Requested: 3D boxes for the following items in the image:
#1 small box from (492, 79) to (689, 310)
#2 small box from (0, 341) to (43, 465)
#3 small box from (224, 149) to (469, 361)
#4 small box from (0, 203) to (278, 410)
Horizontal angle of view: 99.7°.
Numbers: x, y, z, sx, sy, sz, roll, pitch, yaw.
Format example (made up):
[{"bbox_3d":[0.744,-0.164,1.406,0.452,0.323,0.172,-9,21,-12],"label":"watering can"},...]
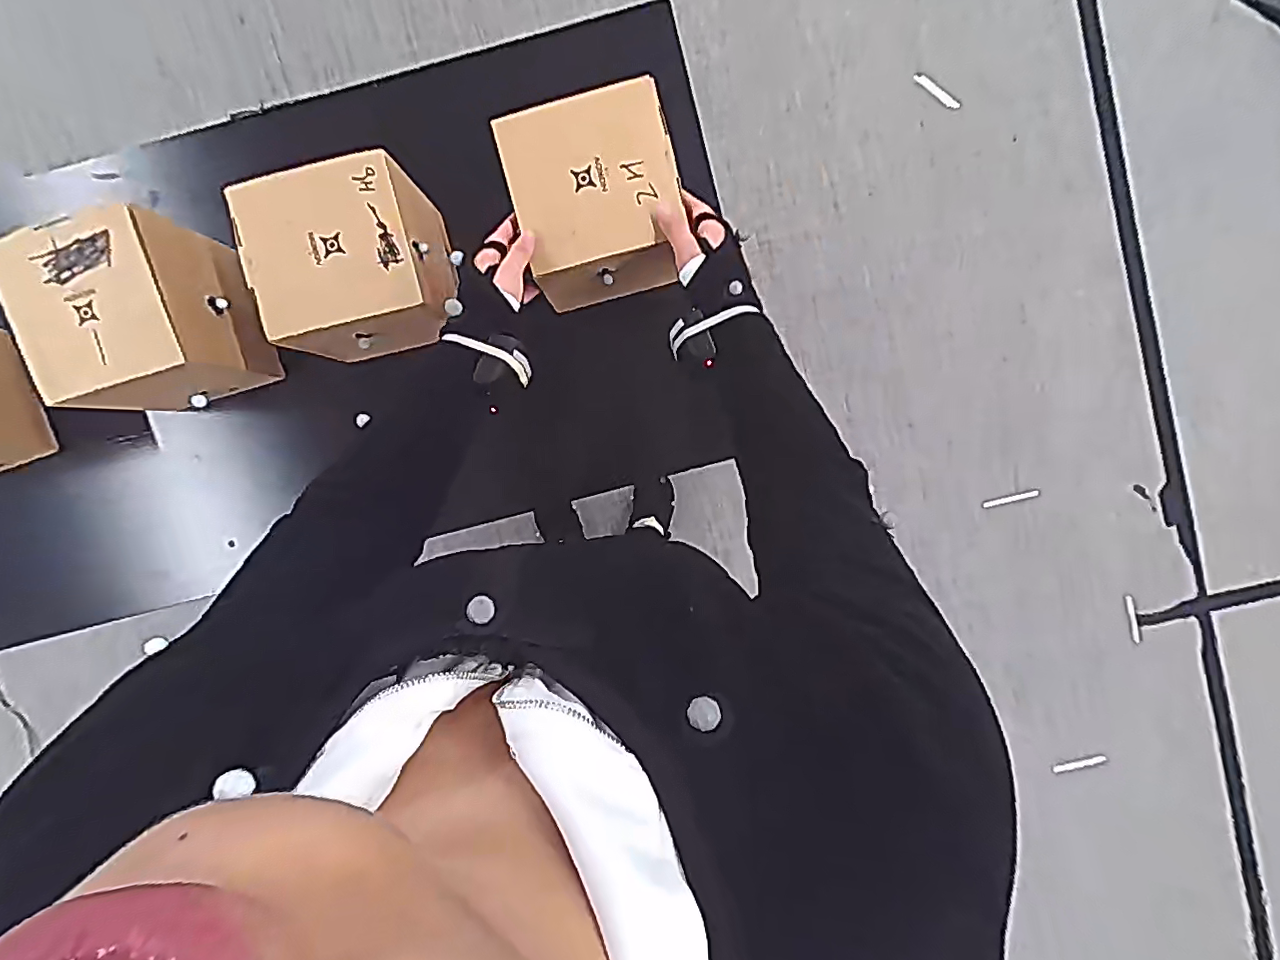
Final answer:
[{"bbox_3d":[-0.049,-0.314,0.635,0.179,0.176,0.168,-14,95,1],"label":"small box"},{"bbox_3d":[-0.899,-0.088,0.648,0.168,0.176,0.179,-19,94,0],"label":"small box"},{"bbox_3d":[-0.329,-0.248,0.640,0.179,0.176,0.168,-13,94,1],"label":"small box"},{"bbox_3d":[-0.582,-0.189,0.642,0.168,0.176,0.179,-16,95,1],"label":"small box"}]
